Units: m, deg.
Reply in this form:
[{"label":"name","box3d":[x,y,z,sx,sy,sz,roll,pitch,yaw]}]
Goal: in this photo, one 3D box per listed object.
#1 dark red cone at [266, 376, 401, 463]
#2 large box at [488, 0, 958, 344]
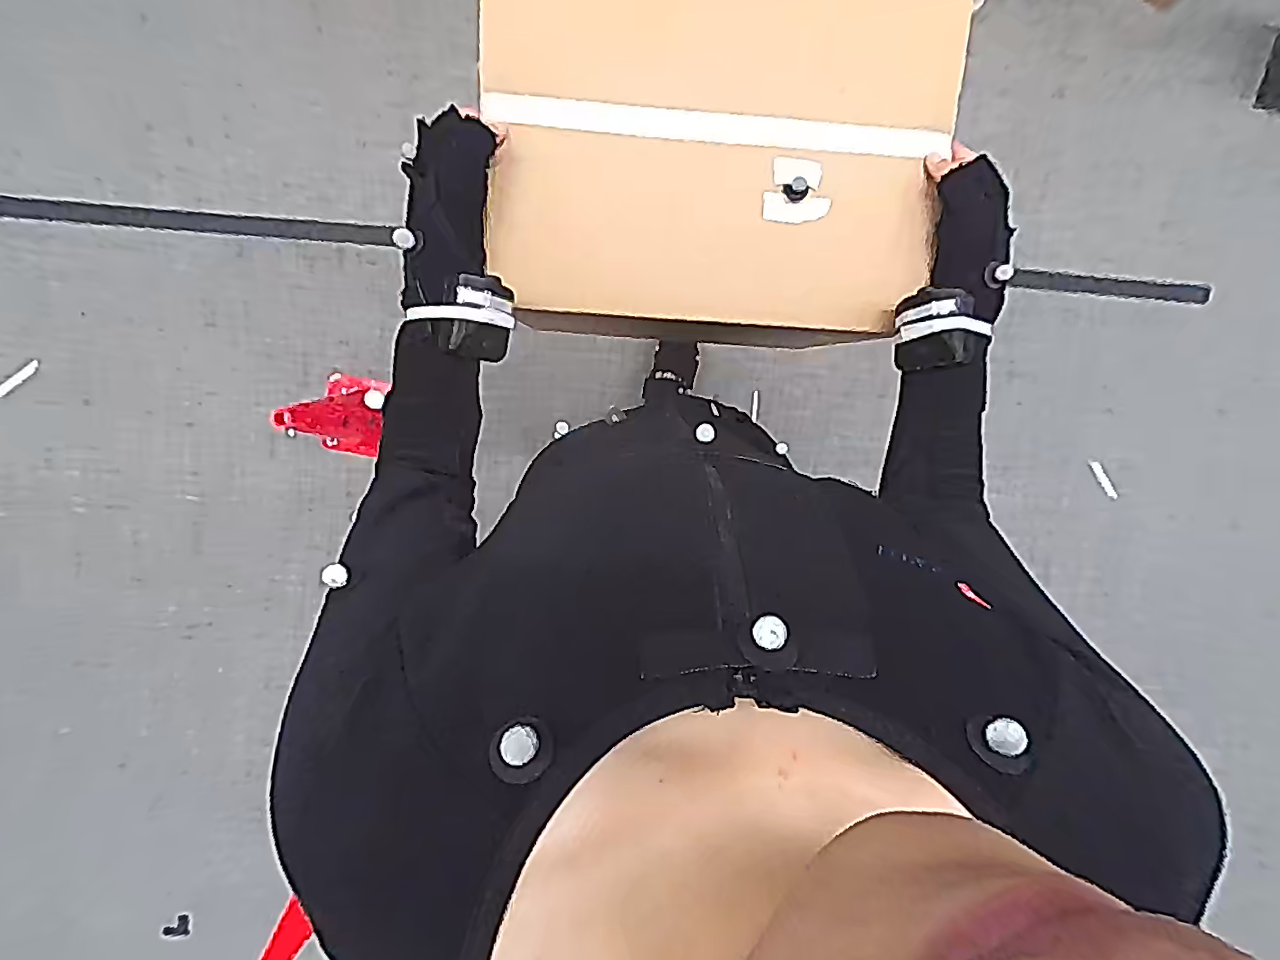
[{"label":"dark red cone","box3d":[-0.706,-0.136,1.216,0.201,0.394,0.202,10,96,-5]},{"label":"large box","box3d":[0.058,-0.329,0.614,0.408,0.320,0.320,2,101,-5]}]
